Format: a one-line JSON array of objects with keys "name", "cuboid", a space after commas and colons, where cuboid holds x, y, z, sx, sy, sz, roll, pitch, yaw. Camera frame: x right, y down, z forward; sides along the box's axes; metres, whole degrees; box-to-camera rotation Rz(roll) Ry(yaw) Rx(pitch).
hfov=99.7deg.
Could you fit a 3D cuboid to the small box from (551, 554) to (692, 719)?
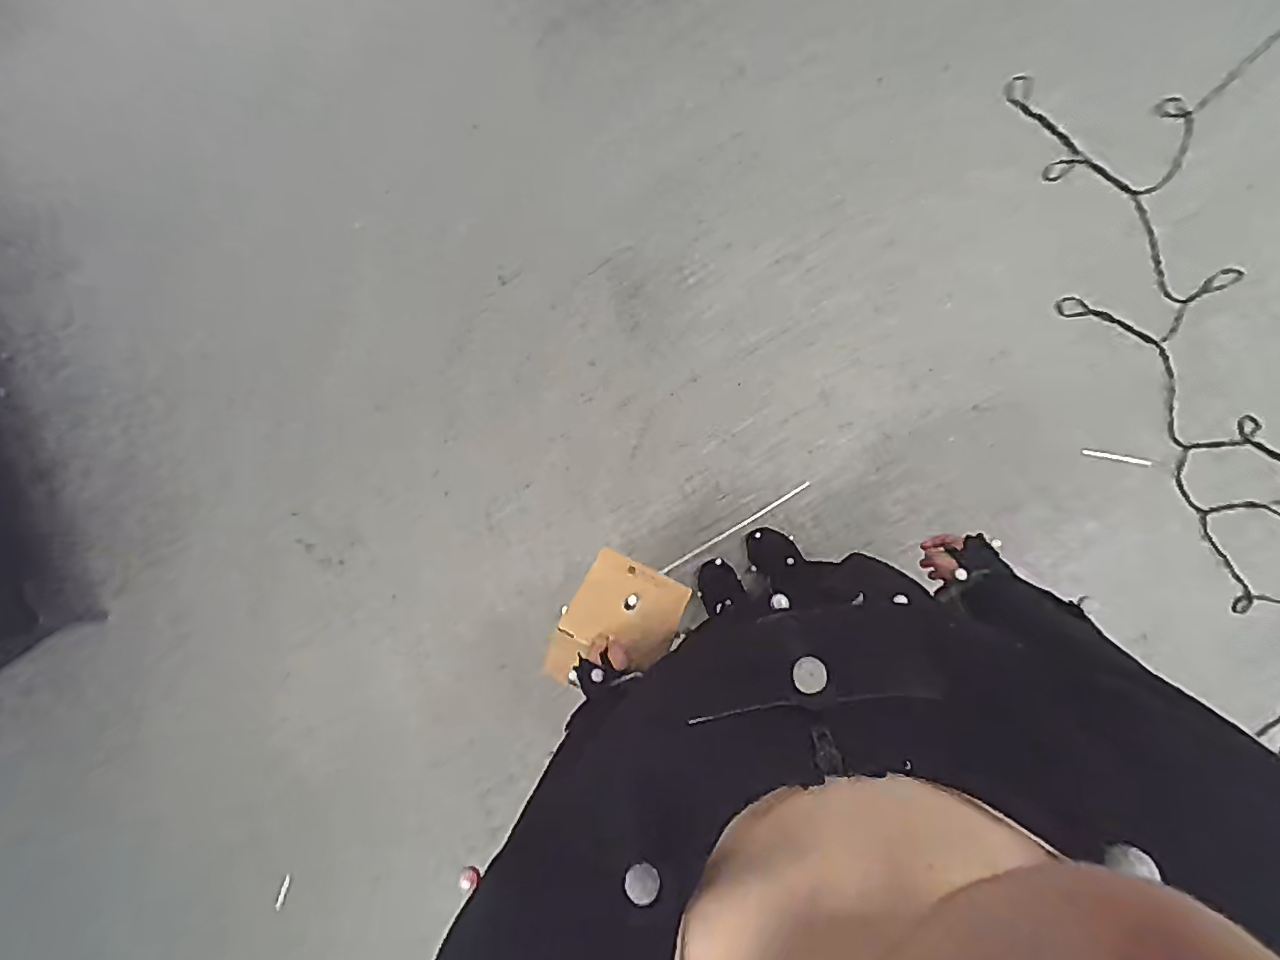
[{"name": "small box", "cuboid": [-0.027, 0.253, 0.891, 0.168, 0.179, 0.176, 25, 45, 5]}]
